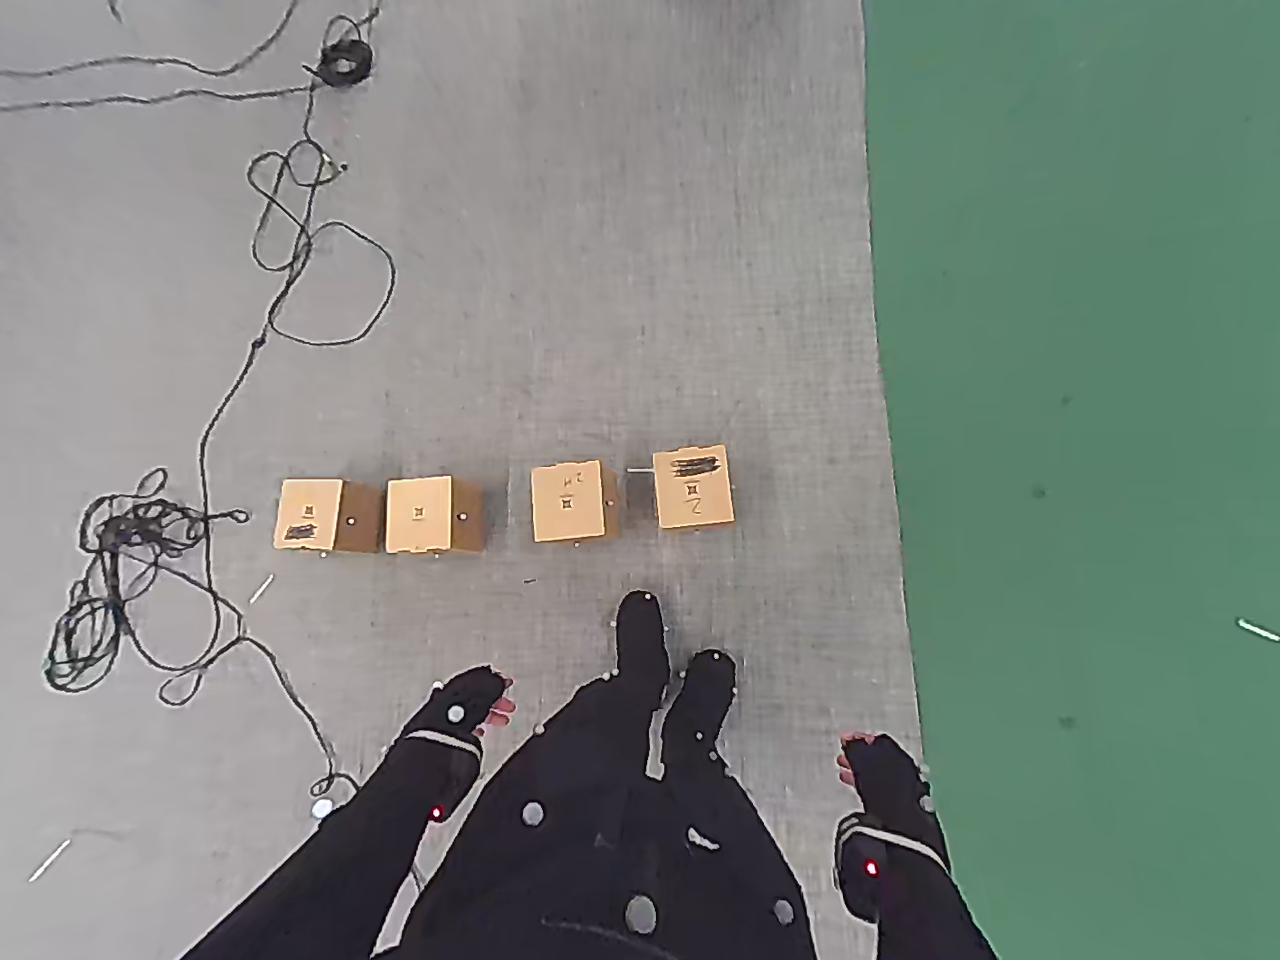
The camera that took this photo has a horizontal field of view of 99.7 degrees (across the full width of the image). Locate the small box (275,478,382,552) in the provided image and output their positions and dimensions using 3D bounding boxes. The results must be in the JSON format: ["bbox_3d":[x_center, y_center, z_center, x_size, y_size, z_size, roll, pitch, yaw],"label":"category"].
[{"bbox_3d":[-0.800,0.095,1.405,0.168,0.176,0.179,1,79,9],"label":"small box"}]

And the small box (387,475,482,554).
[{"bbox_3d":[-0.512,0.092,1.365,0.168,0.176,0.179,-5,80,8],"label":"small box"}]

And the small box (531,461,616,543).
[{"bbox_3d":[-0.157,0.061,1.317,0.168,0.176,0.179,-6,79,6],"label":"small box"}]
